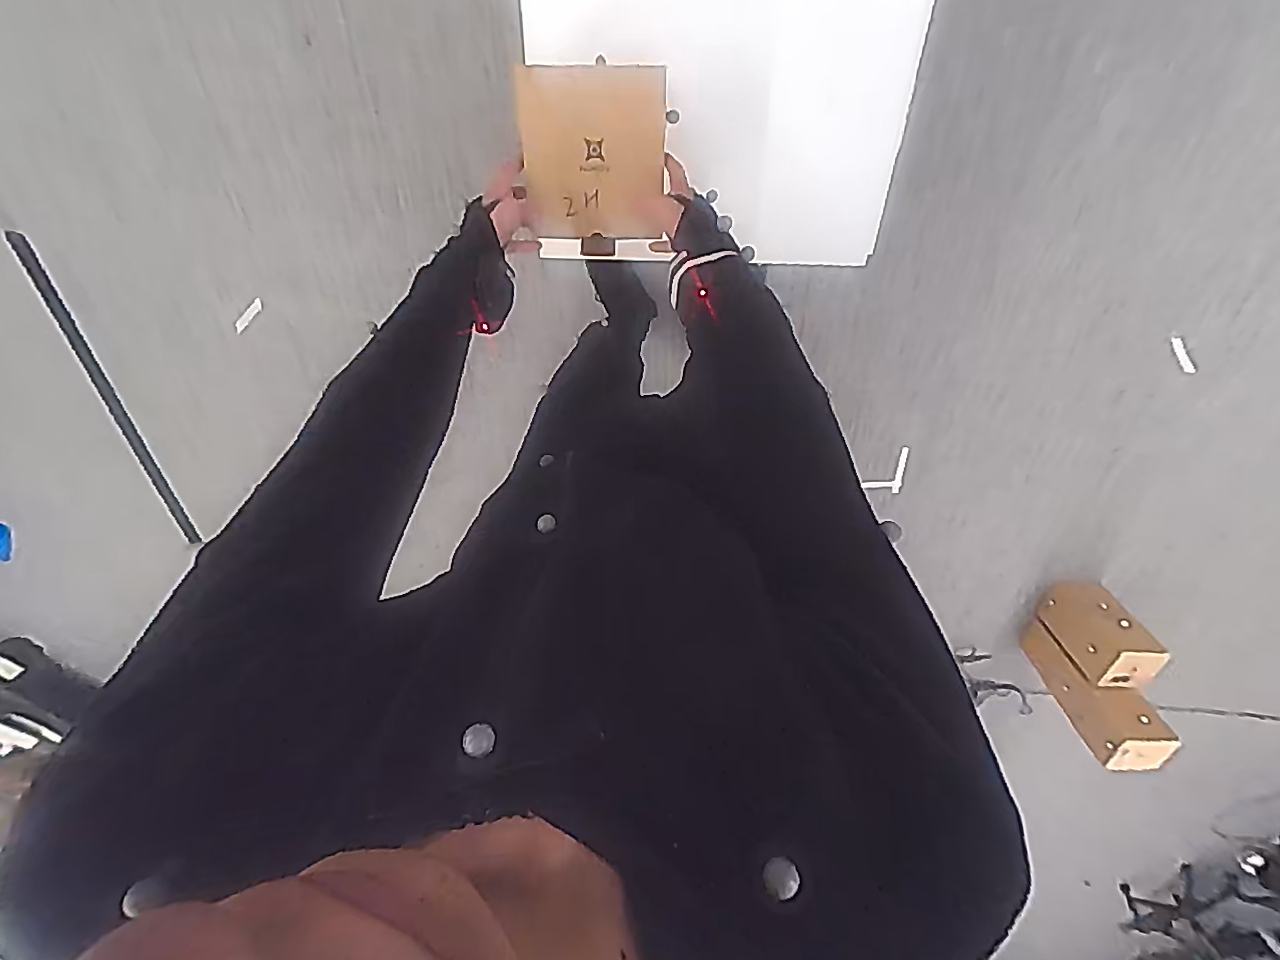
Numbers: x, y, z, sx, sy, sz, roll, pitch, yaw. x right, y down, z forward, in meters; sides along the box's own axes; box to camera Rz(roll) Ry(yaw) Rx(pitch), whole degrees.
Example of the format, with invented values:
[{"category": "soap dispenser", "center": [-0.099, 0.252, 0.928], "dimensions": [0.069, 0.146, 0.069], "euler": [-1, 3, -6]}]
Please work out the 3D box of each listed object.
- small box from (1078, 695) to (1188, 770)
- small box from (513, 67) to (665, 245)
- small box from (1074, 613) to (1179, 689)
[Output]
[{"category": "small box", "center": [1.625, 0.835, 1.793], "dimensions": [0.179, 0.176, 0.168], "euler": [-1, 123, 1]}, {"category": "small box", "center": [-0.055, -0.407, 0.687], "dimensions": [0.168, 0.176, 0.179], "euler": [1, 124, 1]}, {"category": "small box", "center": [1.619, 0.573, 1.817], "dimensions": [0.168, 0.176, 0.179], "euler": [4, 122, -2]}]
